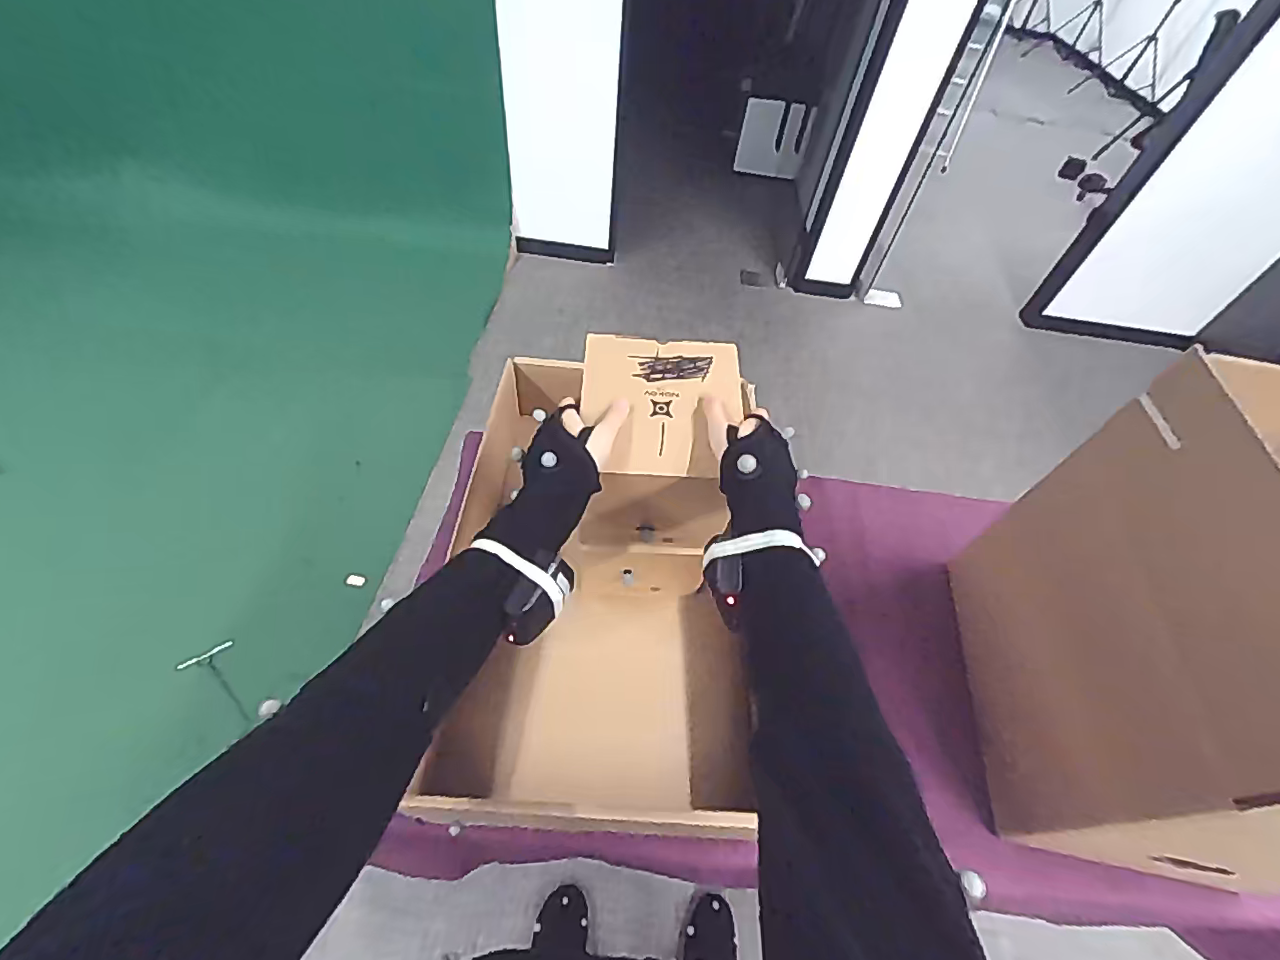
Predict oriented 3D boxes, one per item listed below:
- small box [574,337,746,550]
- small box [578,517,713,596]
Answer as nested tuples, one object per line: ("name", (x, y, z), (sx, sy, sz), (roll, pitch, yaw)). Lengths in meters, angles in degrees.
("small box", (0.016, -0.035, 0.614), (0.168, 0.176, 0.179), (2, 61, -2))
("small box", (0.005, 0.054, 0.753), (0.168, 0.176, 0.179), (2, 60, -3))
